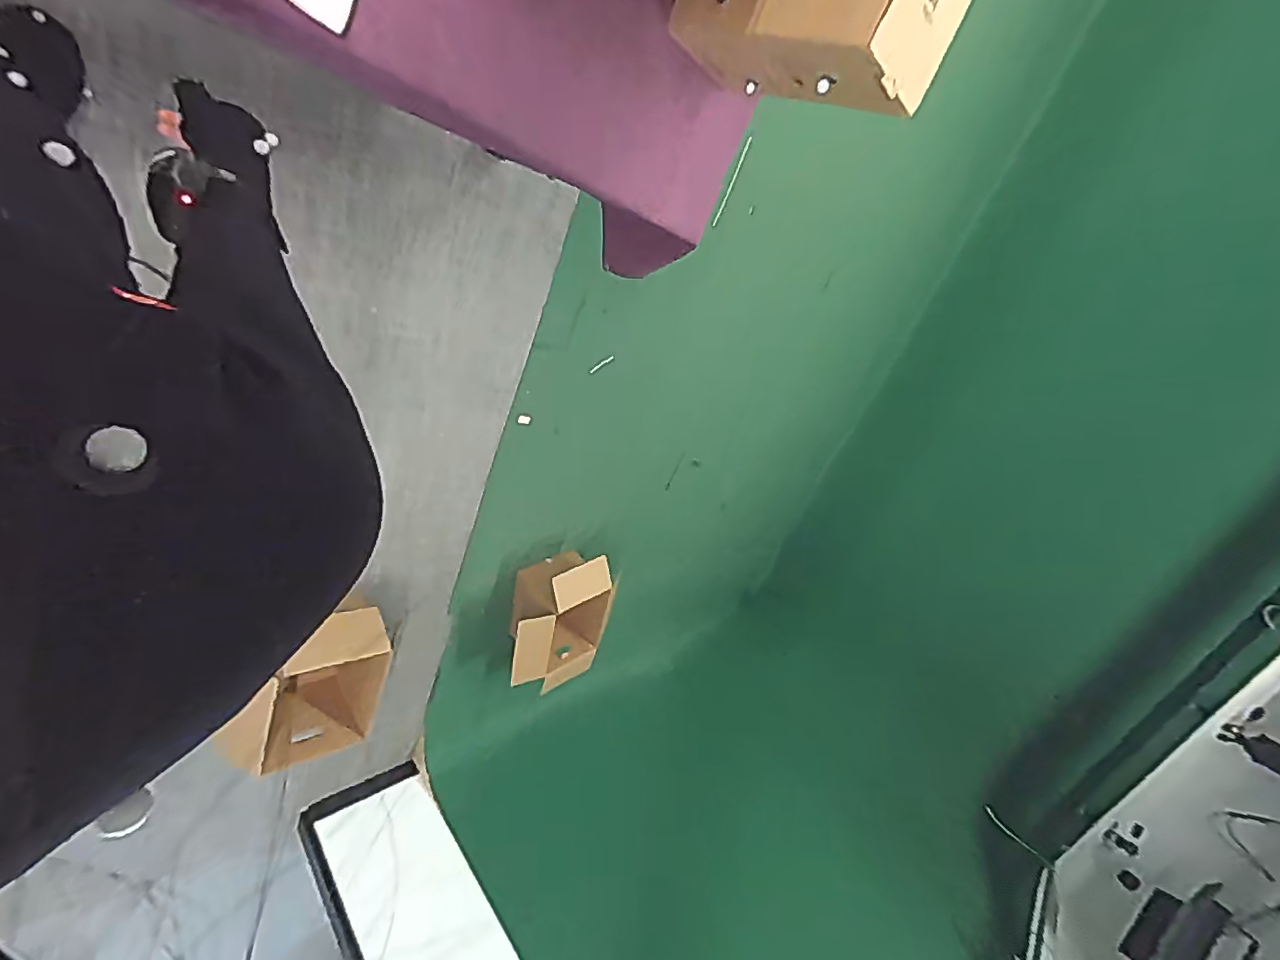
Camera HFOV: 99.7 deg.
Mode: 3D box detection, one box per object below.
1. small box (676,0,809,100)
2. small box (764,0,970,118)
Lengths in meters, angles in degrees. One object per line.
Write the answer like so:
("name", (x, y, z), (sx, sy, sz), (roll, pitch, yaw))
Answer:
("small box", (0.175, -0.679, 0.757), (0.168, 0.176, 0.179), (-1, 122, -50))
("small box", (0.278, -0.592, 0.664), (0.168, 0.176, 0.179), (-2, 124, -50))
